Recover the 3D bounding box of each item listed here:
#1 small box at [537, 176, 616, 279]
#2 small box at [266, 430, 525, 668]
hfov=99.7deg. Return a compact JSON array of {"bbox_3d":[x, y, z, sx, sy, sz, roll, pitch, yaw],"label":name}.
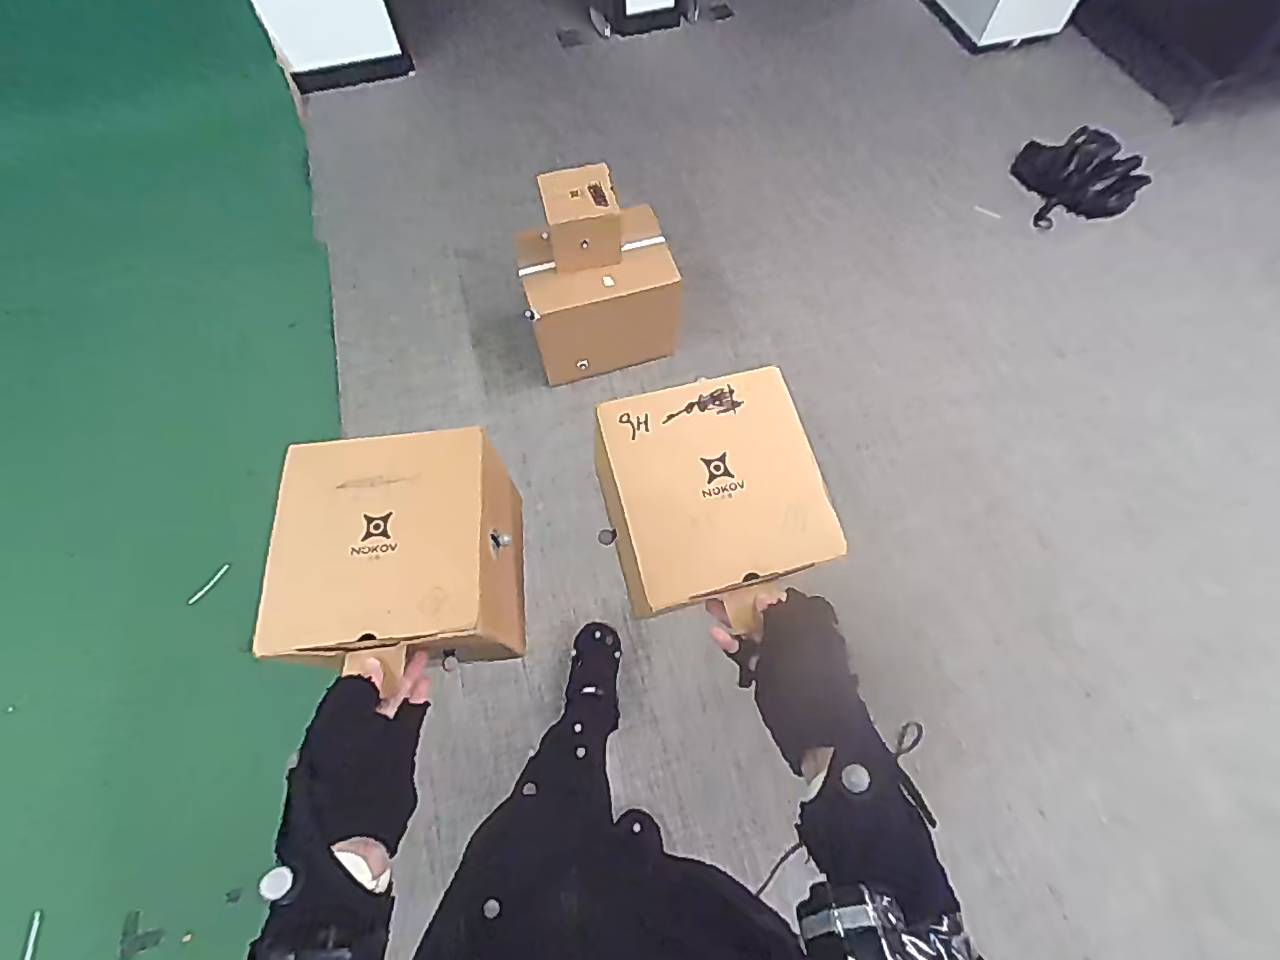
[{"bbox_3d":[-0.159,-0.642,1.386,0.179,0.176,0.168,-9,69,-5],"label":"small box"},{"bbox_3d":[-0.206,0.076,0.509,0.168,0.176,0.179,-6,65,-3],"label":"small box"}]
